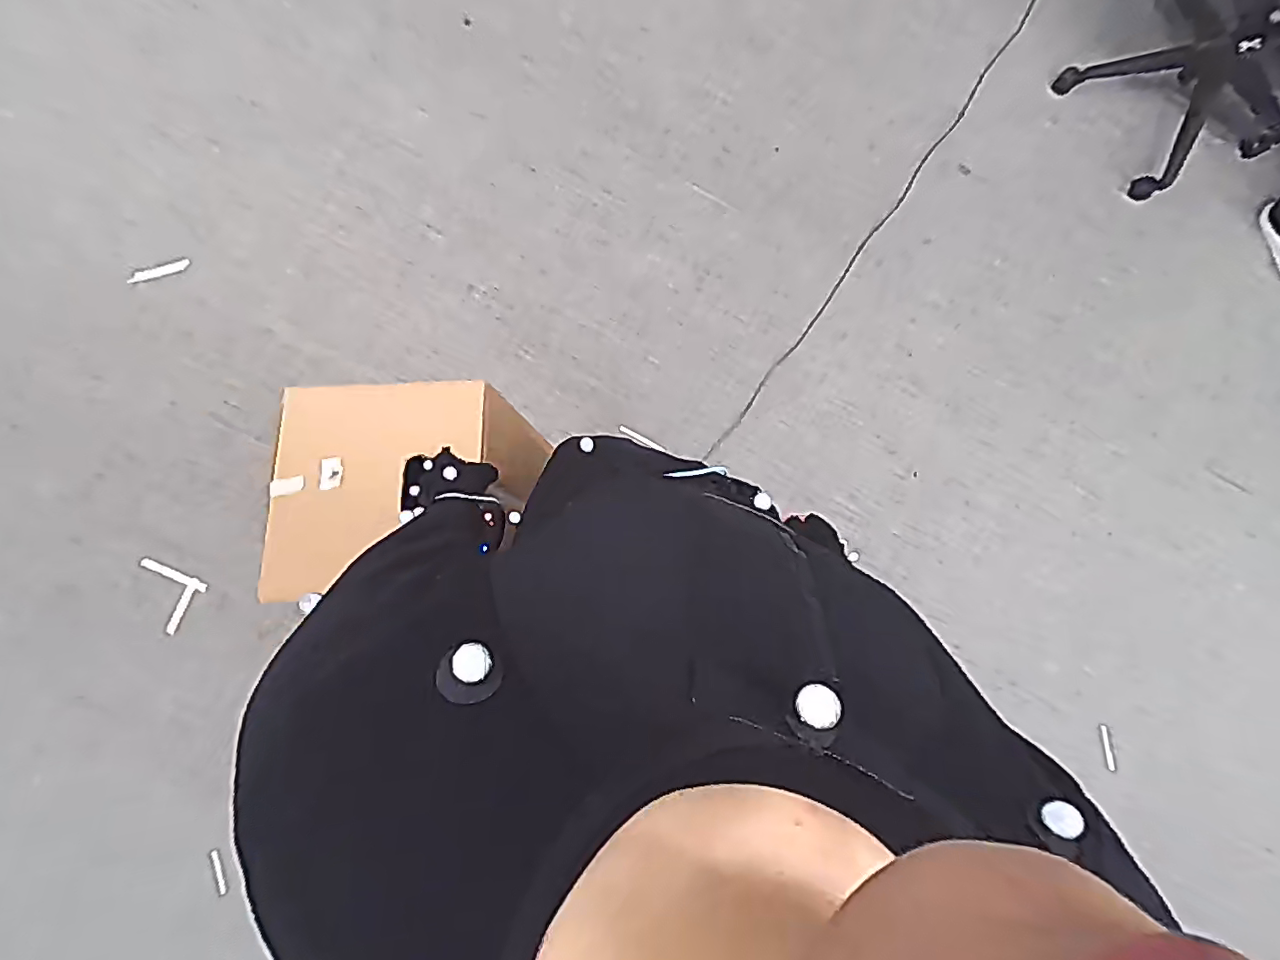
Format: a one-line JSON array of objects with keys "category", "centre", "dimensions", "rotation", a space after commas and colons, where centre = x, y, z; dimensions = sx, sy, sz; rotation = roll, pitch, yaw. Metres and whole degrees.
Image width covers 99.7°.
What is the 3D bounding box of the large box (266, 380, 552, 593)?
[{"category": "large box", "centre": [-0.364, 0.034, 0.963], "dimensions": [0.320, 0.408, 0.320], "rotation": [2, 79, 5]}]
